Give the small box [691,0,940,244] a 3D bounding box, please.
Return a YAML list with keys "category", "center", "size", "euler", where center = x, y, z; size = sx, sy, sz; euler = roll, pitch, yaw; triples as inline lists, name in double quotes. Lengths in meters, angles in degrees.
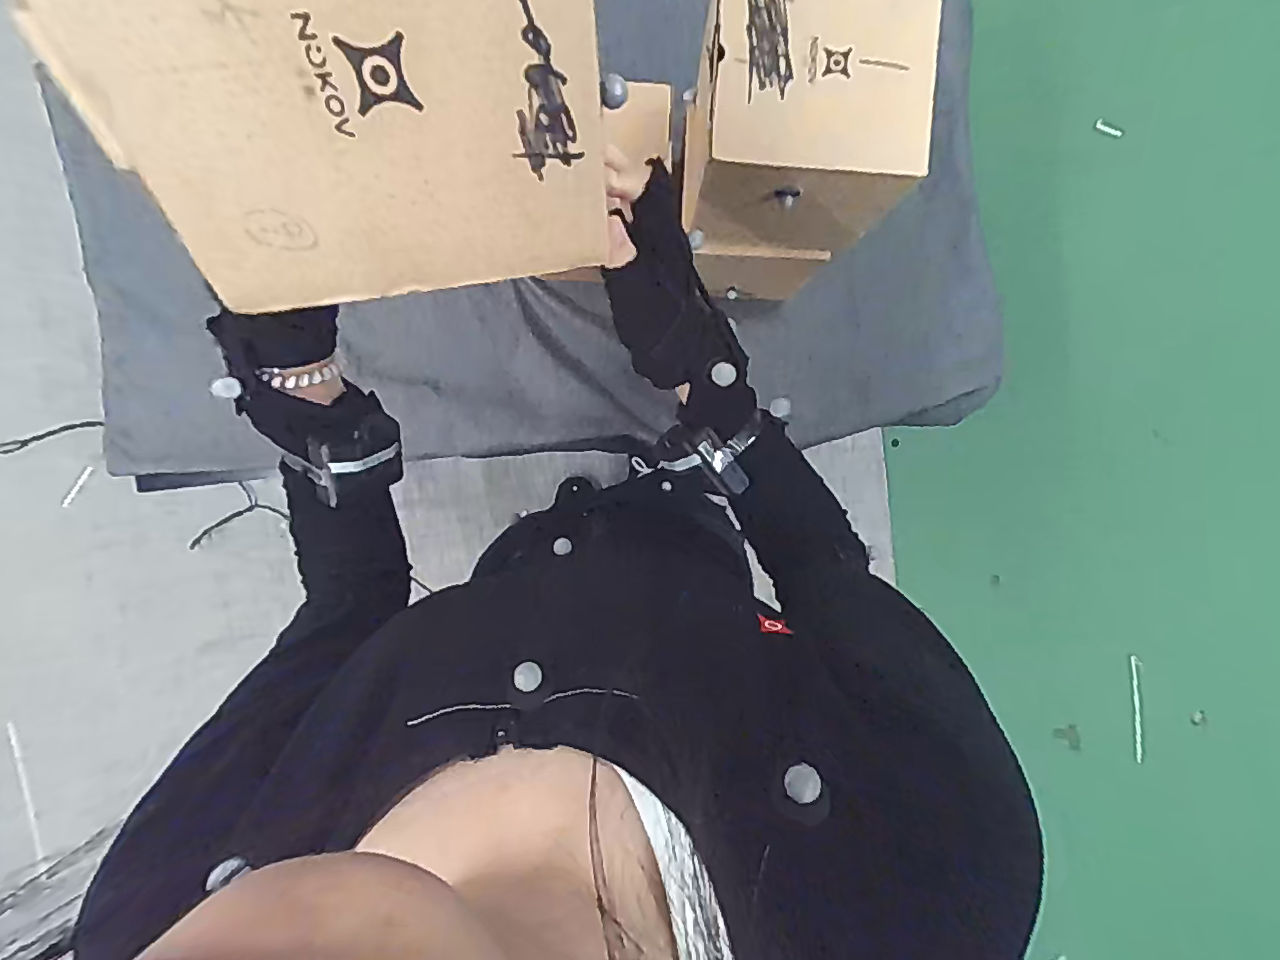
- category: "small box"
  center: [0.144, -0.334, 0.503]
  size: [0.179, 0.176, 0.168]
  euler: [3, 94, -1]
